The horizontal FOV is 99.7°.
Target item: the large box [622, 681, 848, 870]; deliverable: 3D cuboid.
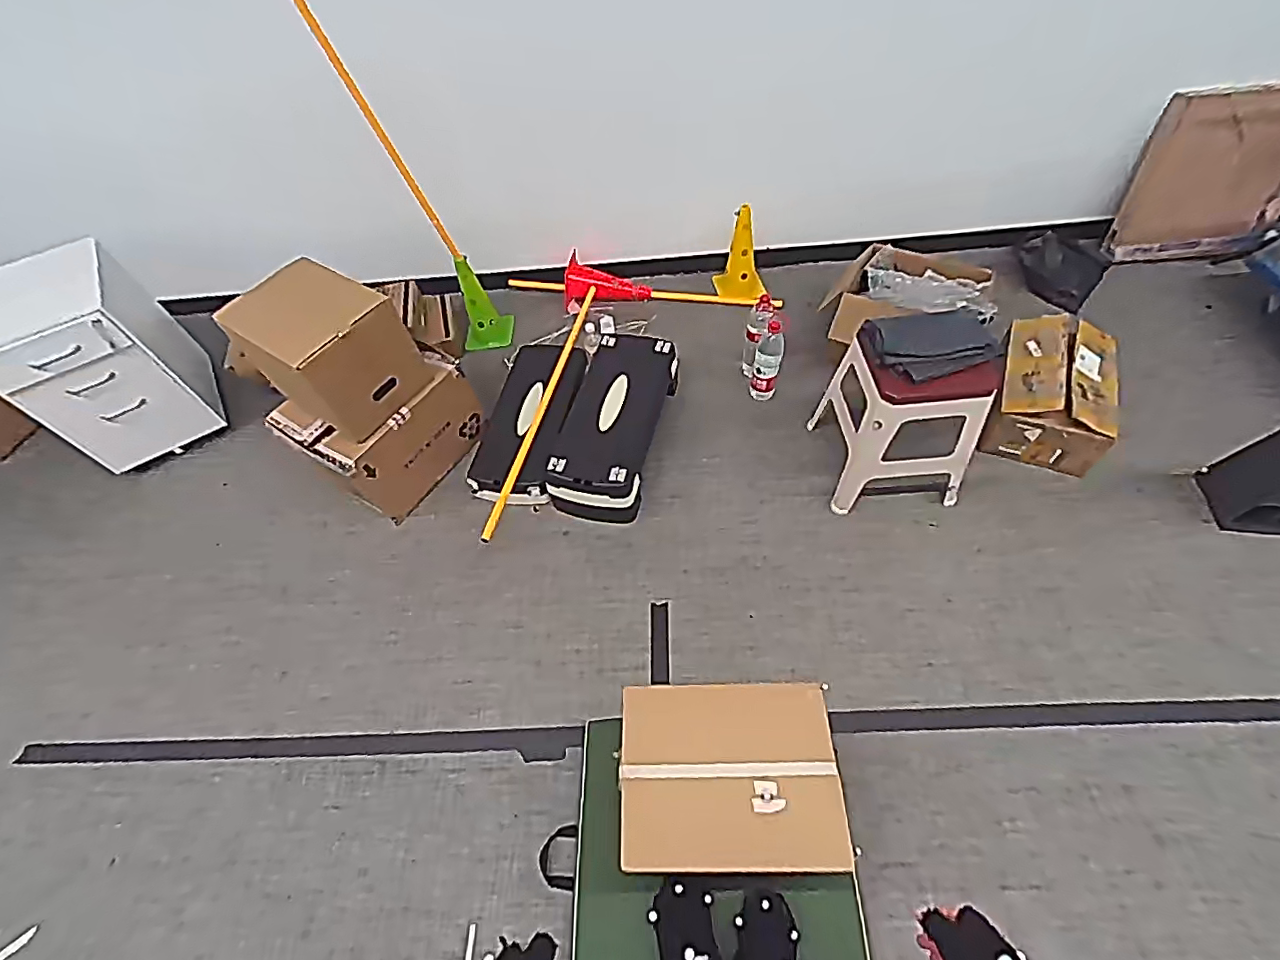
[{"bbox_3d":[0.171,0.633,1.154,0.408,0.320,0.320,-2,56,3],"label":"large box"}]
